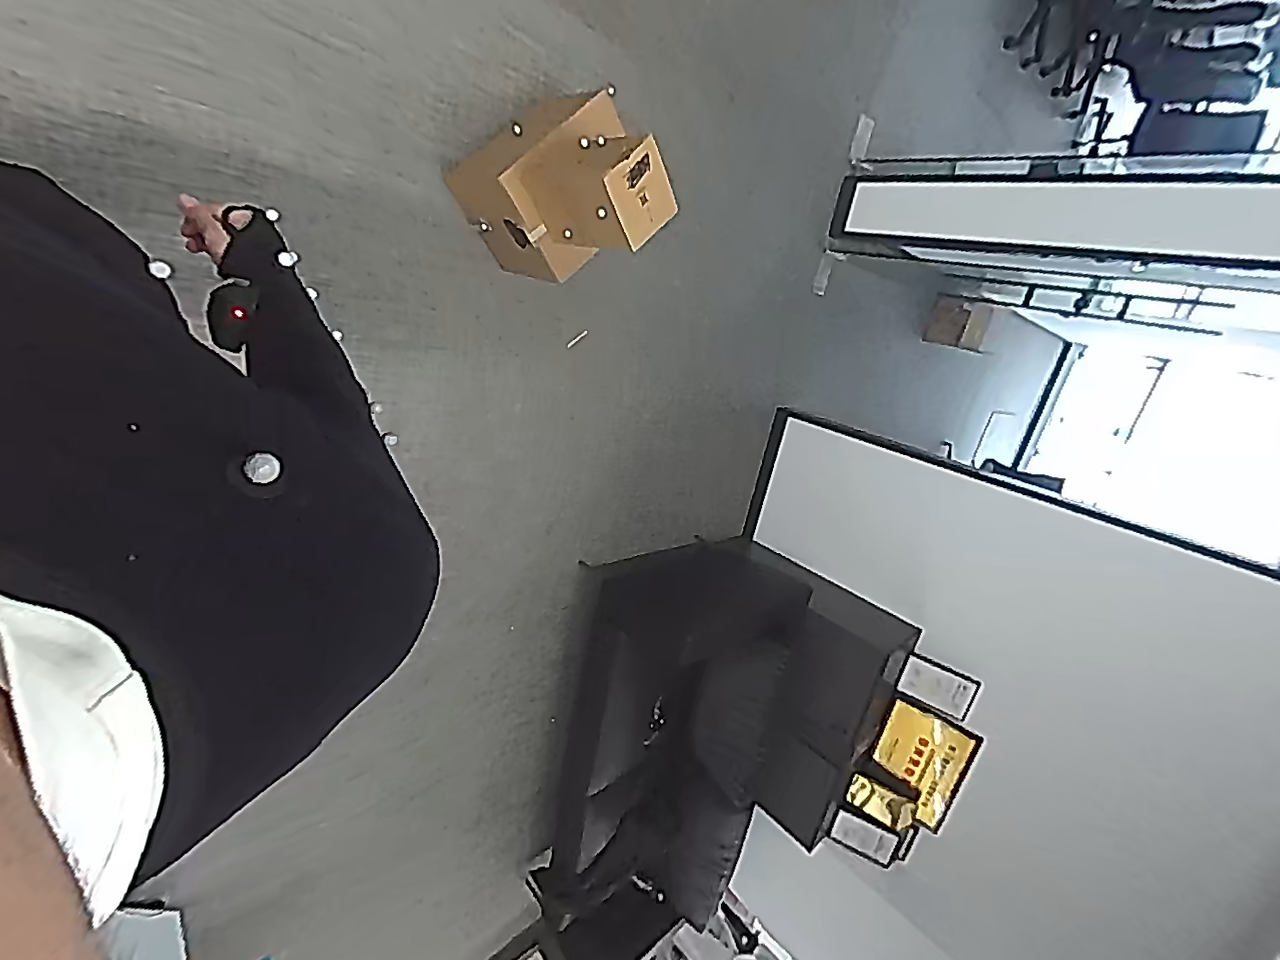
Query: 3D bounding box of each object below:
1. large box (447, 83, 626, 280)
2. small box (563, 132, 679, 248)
[{"bbox_3d":[-0.259,-0.839,1.545,0.408,0.320,0.320,-50,139,-15],"label":"large box"},{"bbox_3d":[-0.046,-0.658,1.234,0.168,0.176,0.179,-48,138,-15],"label":"small box"}]
